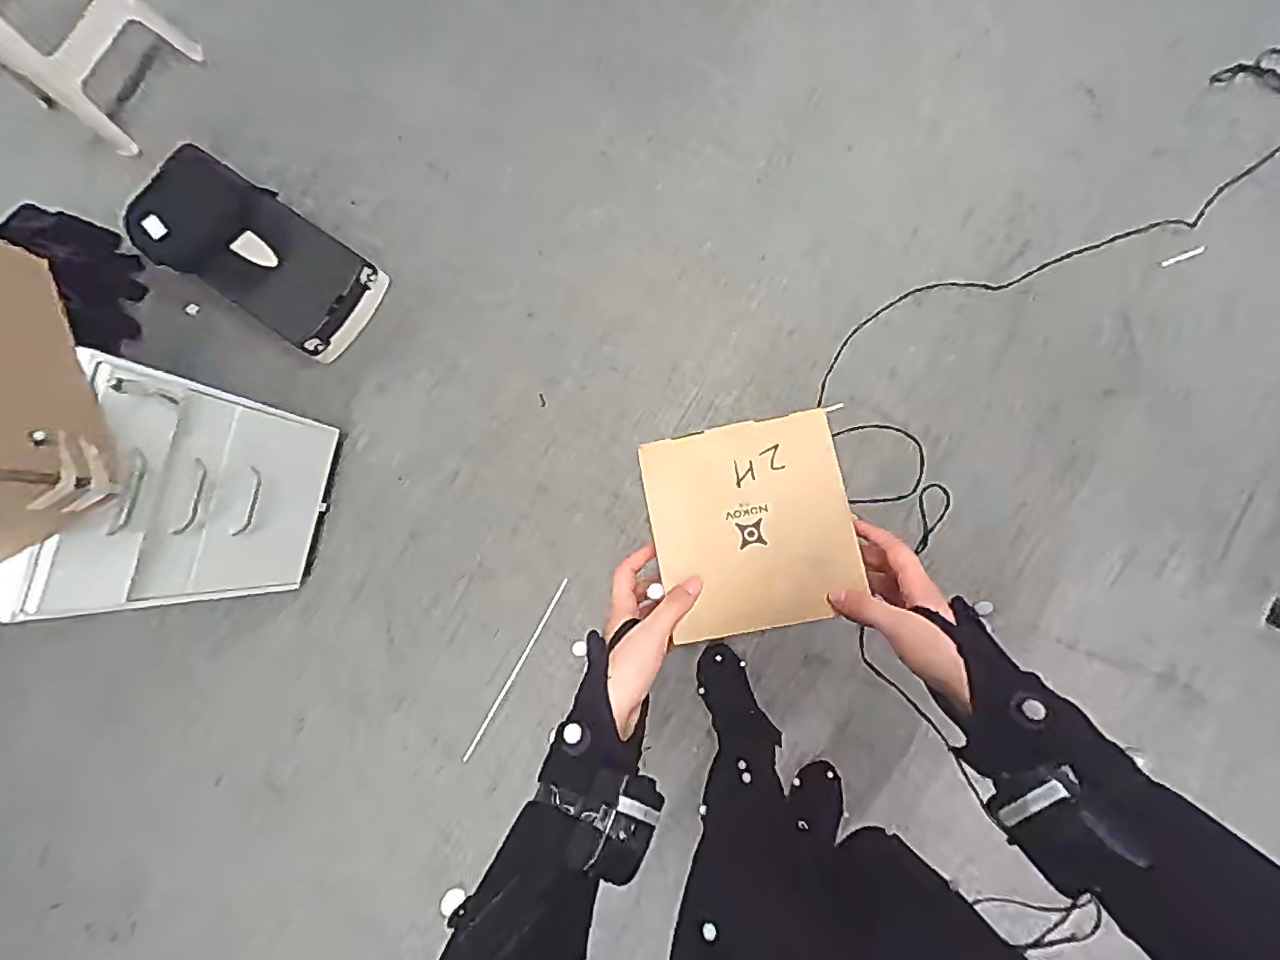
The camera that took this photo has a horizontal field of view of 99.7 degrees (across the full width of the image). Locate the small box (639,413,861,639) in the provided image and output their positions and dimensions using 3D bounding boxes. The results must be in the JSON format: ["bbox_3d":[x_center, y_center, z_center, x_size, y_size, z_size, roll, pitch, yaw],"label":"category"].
[{"bbox_3d":[0.101,0.049,0.548,0.168,0.176,0.179,-11,80,4],"label":"small box"}]
